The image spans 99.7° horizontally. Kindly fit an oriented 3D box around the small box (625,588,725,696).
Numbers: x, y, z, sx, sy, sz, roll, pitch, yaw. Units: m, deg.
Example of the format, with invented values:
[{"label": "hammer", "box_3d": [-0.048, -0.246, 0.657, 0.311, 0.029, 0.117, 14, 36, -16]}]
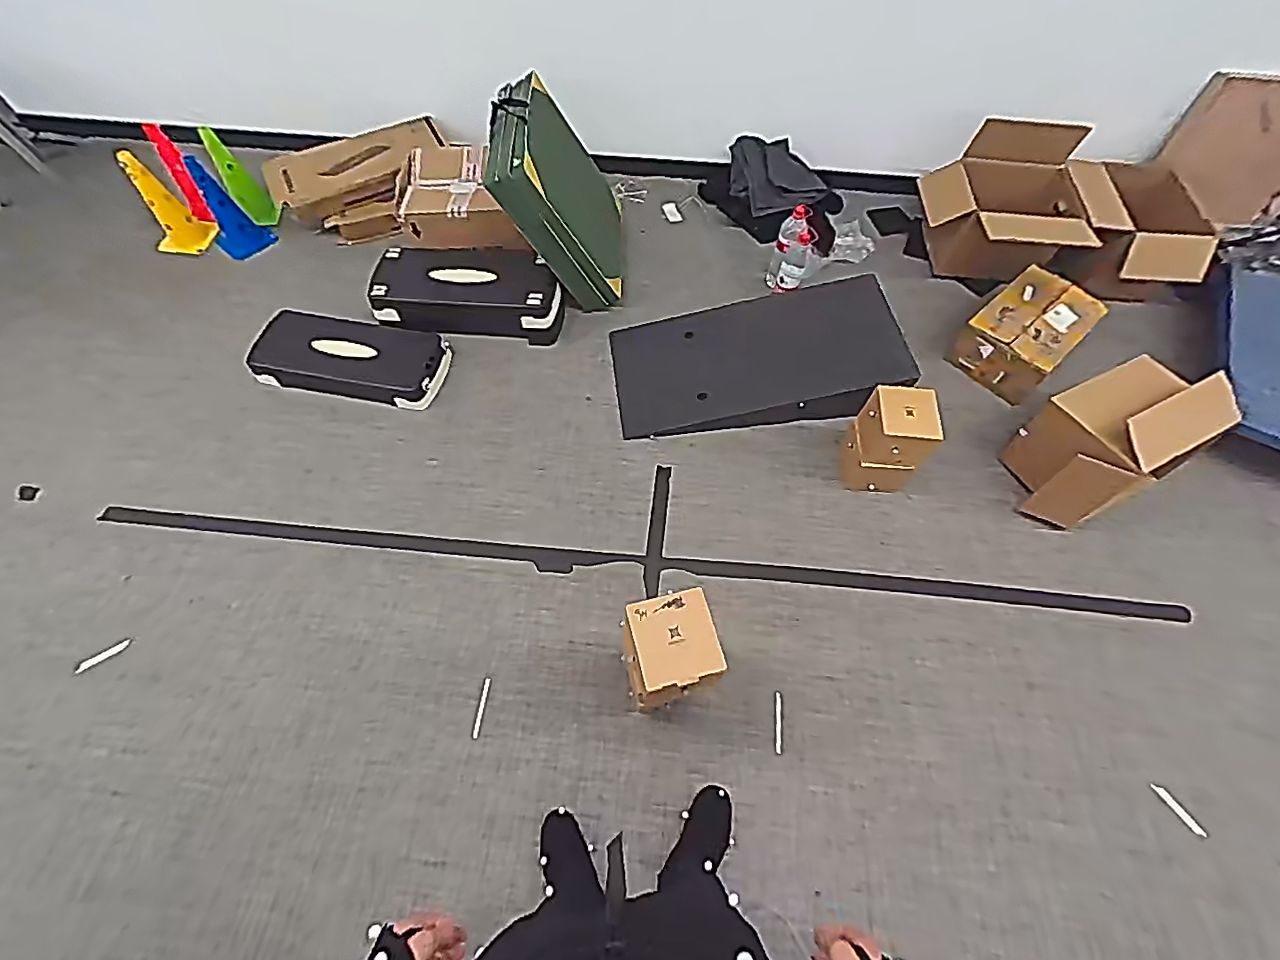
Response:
[{"label": "small box", "box_3d": [0.068, 0.351, 1.150, 0.168, 0.176, 0.179, -12, 64, -8]}]
